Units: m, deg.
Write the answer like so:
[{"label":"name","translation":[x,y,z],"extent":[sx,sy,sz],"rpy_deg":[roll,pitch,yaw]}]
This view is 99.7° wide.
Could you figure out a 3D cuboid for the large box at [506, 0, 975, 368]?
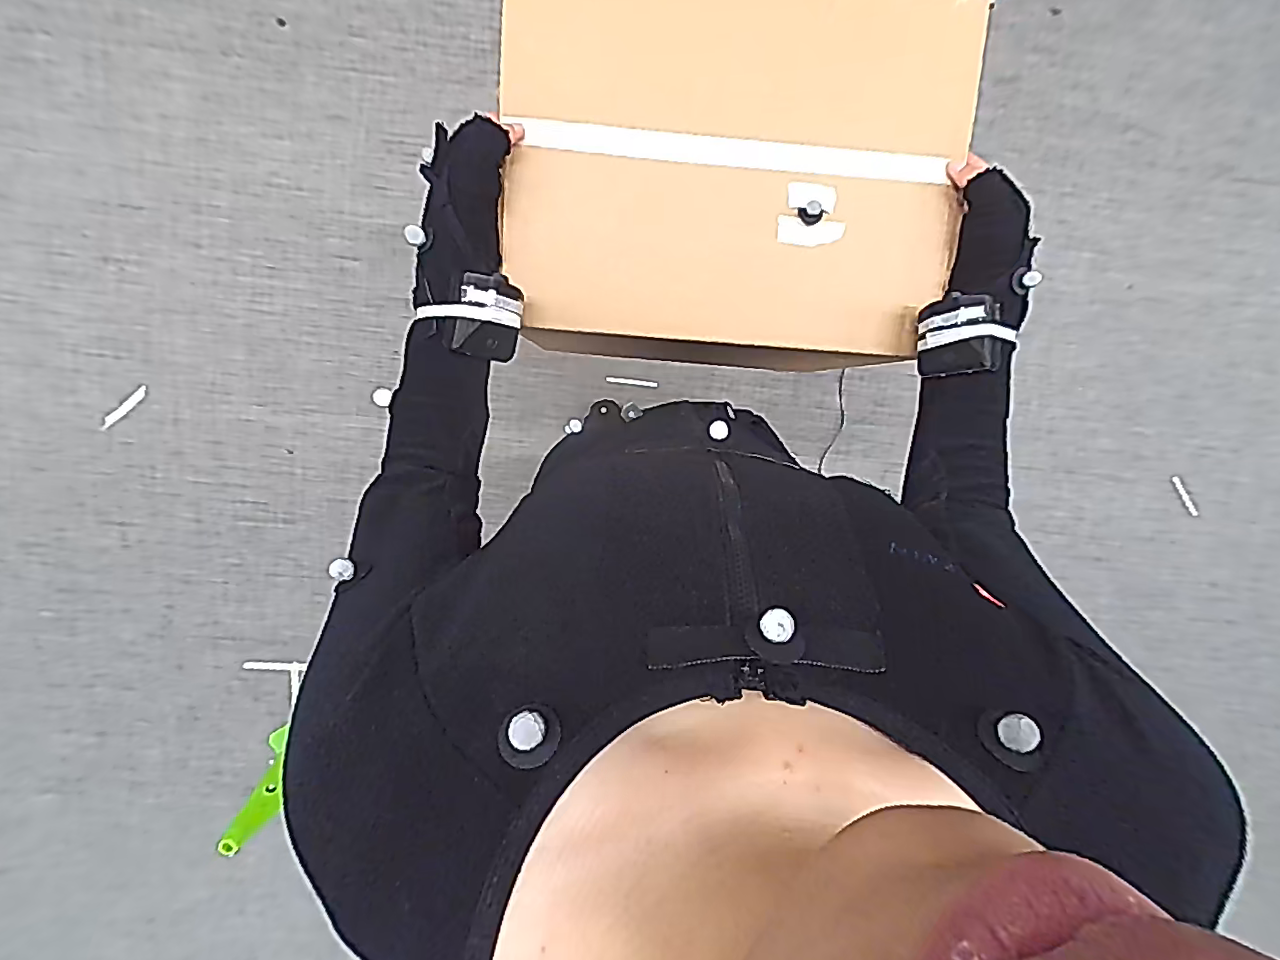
[{"label":"large box","translation":[0.074,-0.303,0.618],"extent":[0.408,0.320,0.320],"rpy_deg":[3,99,-4]}]

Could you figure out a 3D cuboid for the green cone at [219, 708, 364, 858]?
[{"label":"green cone","translation":[-0.919,0.797,1.383],"extent":[0.202,0.368,0.200],"rpy_deg":[-32,97,4]}]
